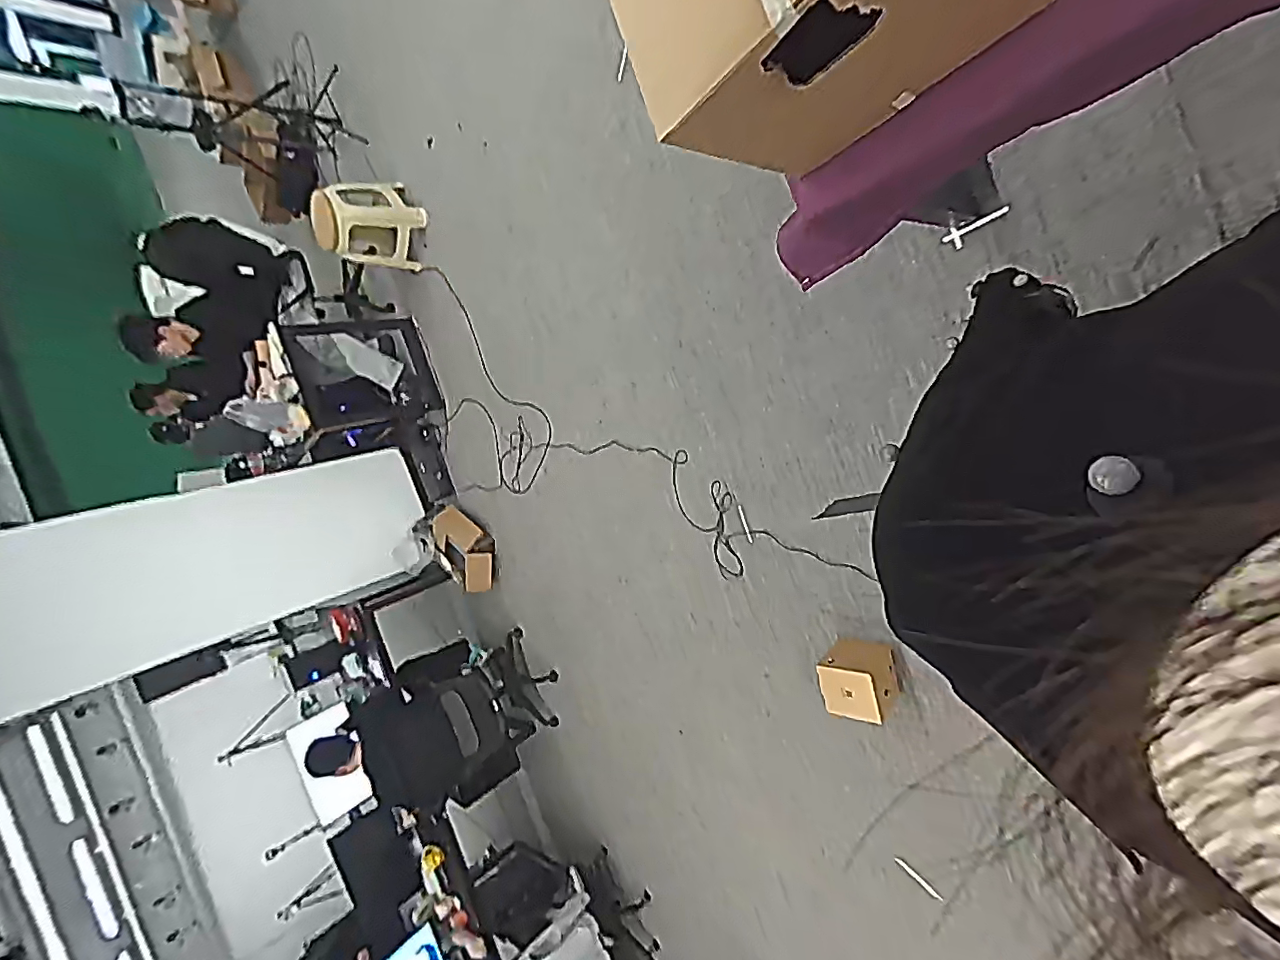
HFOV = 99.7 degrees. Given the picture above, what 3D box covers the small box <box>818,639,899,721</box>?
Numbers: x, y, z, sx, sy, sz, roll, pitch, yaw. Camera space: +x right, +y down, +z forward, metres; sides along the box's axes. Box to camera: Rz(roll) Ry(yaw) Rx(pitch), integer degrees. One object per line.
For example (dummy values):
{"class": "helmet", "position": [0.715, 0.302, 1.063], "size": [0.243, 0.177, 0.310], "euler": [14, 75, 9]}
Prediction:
{"class": "small box", "position": [0.685, 0.614, 1.682], "size": [0.179, 0.176, 0.168], "euler": [-8, 101, 47]}
